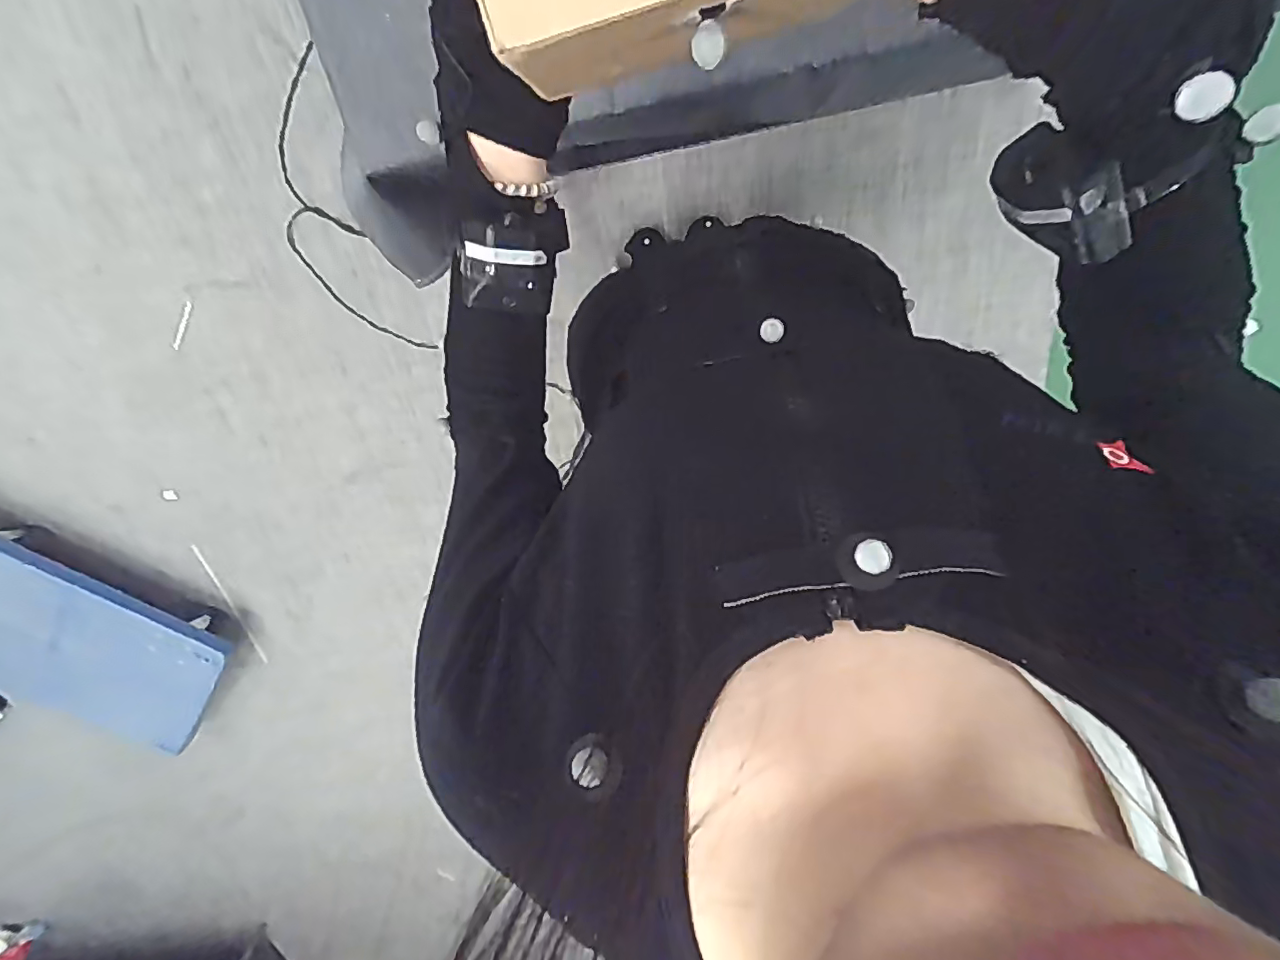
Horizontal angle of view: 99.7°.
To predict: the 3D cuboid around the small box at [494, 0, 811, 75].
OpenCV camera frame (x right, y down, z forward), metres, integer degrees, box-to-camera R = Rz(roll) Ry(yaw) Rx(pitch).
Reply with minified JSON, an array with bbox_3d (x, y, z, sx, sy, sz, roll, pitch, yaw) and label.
[{"bbox_3d":[0.015,-0.279,0.202,0.179,0.176,0.168,-13,121,6],"label":"small box"}]
